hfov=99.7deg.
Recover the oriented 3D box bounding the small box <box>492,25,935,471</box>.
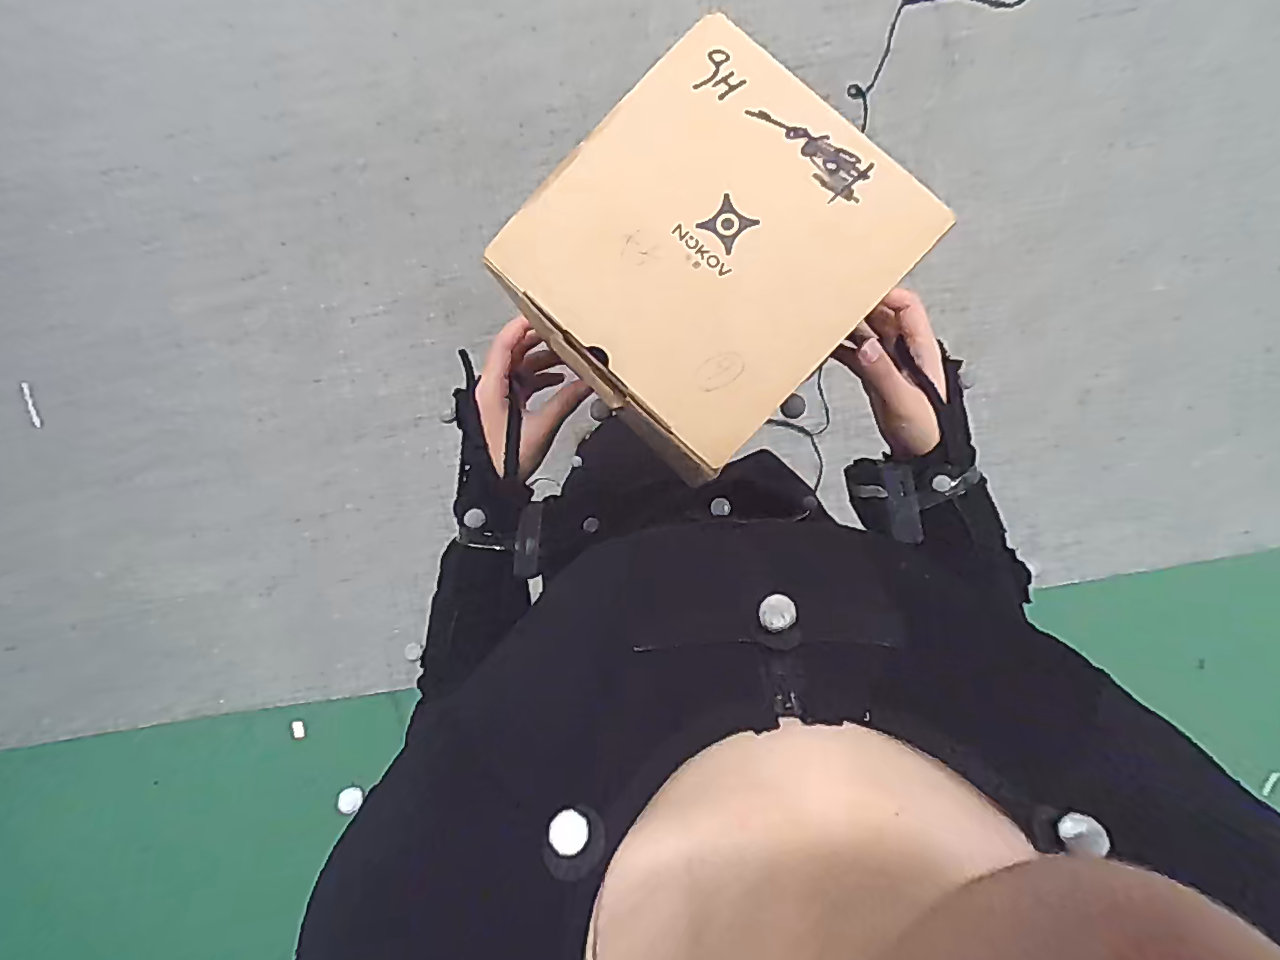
[{"bbox_3d":[0.041,-0.121,0.361,0.168,0.176,0.179,44,90,4],"label":"small box"}]
